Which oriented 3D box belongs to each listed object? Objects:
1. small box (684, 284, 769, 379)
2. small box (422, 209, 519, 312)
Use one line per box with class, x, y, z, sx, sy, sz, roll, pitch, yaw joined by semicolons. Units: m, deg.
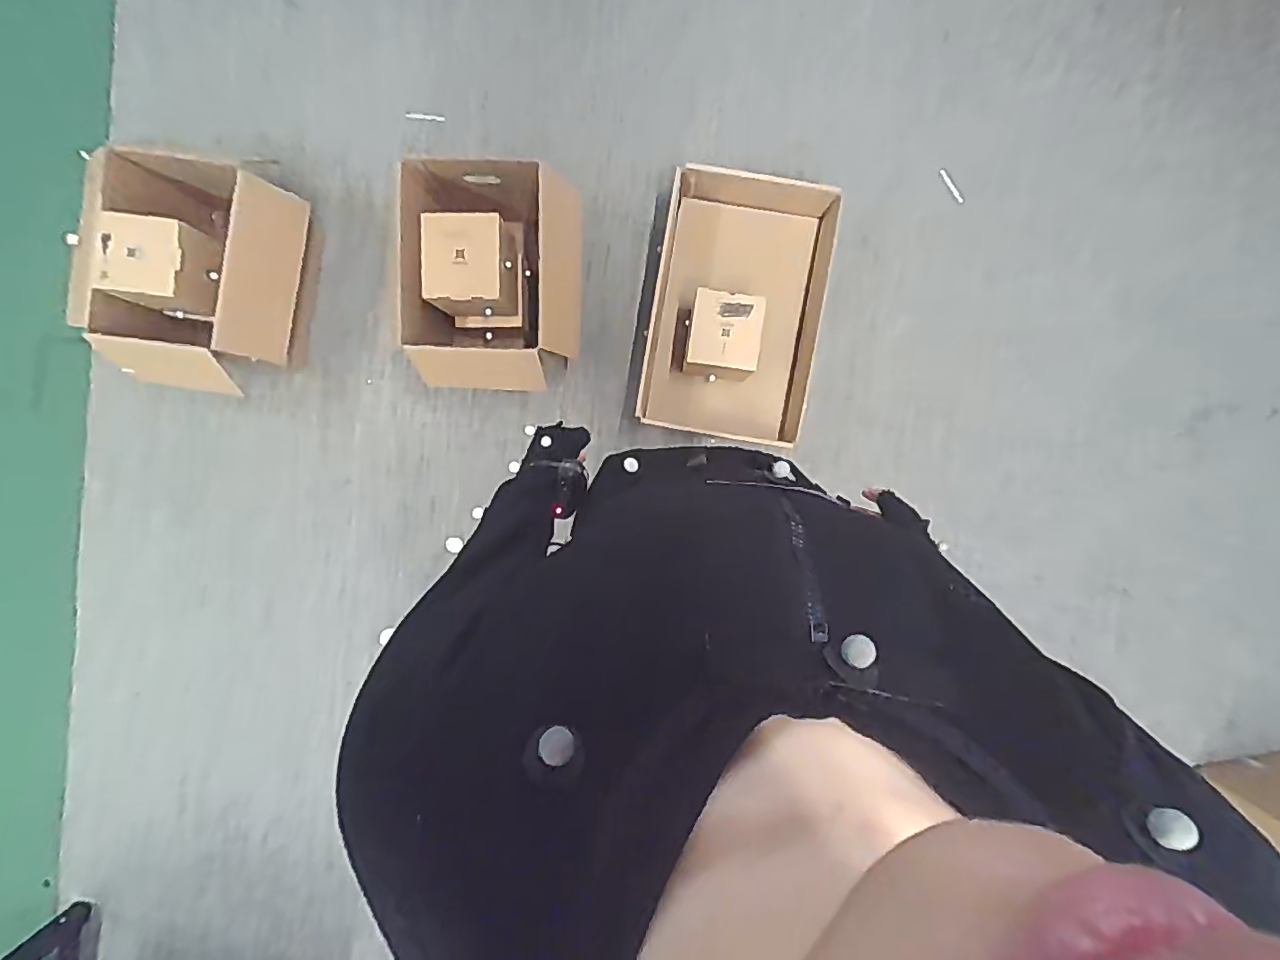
small box;0.204;-0.355;1.320;0.168;0.176;0.179;8;92;1
small box;-0.368;-0.477;1.197;0.168;0.176;0.179;1;94;1
